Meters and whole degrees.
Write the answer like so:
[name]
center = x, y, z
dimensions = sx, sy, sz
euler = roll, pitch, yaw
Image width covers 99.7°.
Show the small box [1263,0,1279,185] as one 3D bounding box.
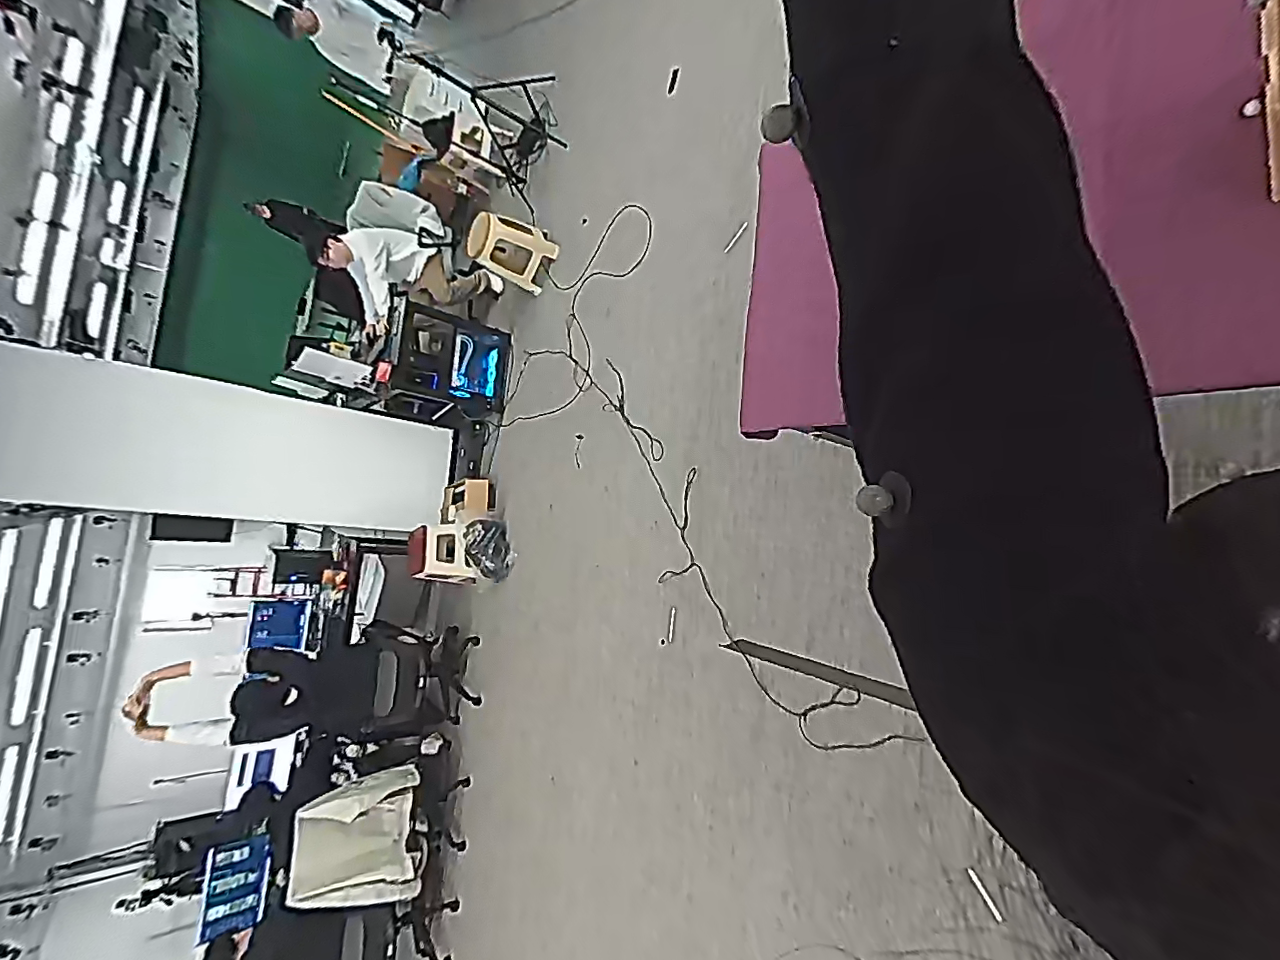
[small box]
center = 0.662, -0.392, 0.455
dimensions = 0.179, 0.176, 0.168
euler = -2, 80, 51
